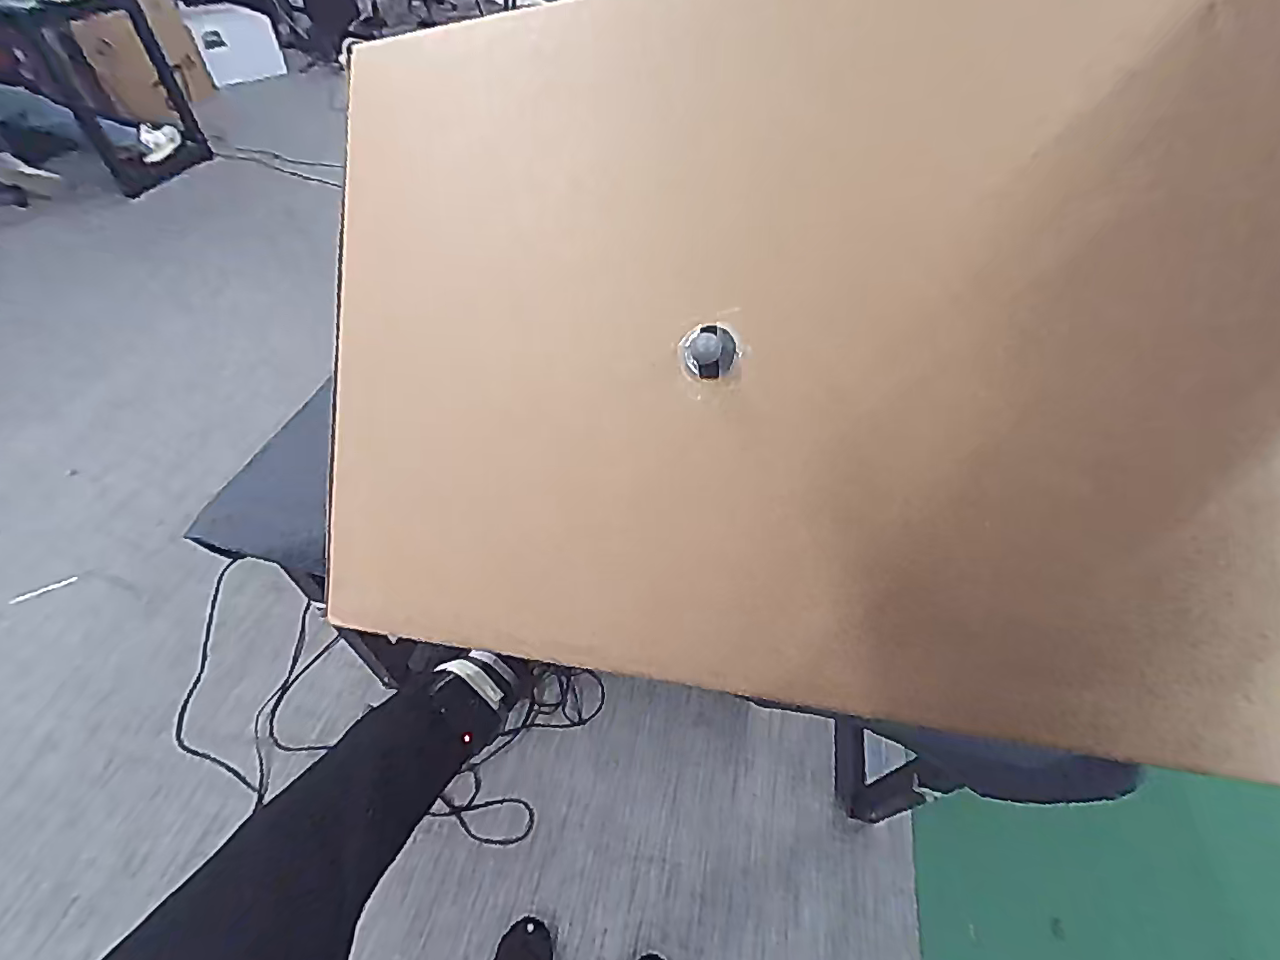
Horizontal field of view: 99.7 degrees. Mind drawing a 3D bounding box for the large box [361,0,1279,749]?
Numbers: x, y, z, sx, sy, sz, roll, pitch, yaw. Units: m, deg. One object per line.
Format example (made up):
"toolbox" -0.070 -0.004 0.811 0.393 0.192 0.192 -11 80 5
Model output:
"large box" 0.078 -0.054 0.385 0.408 0.320 0.320 2 90 16
